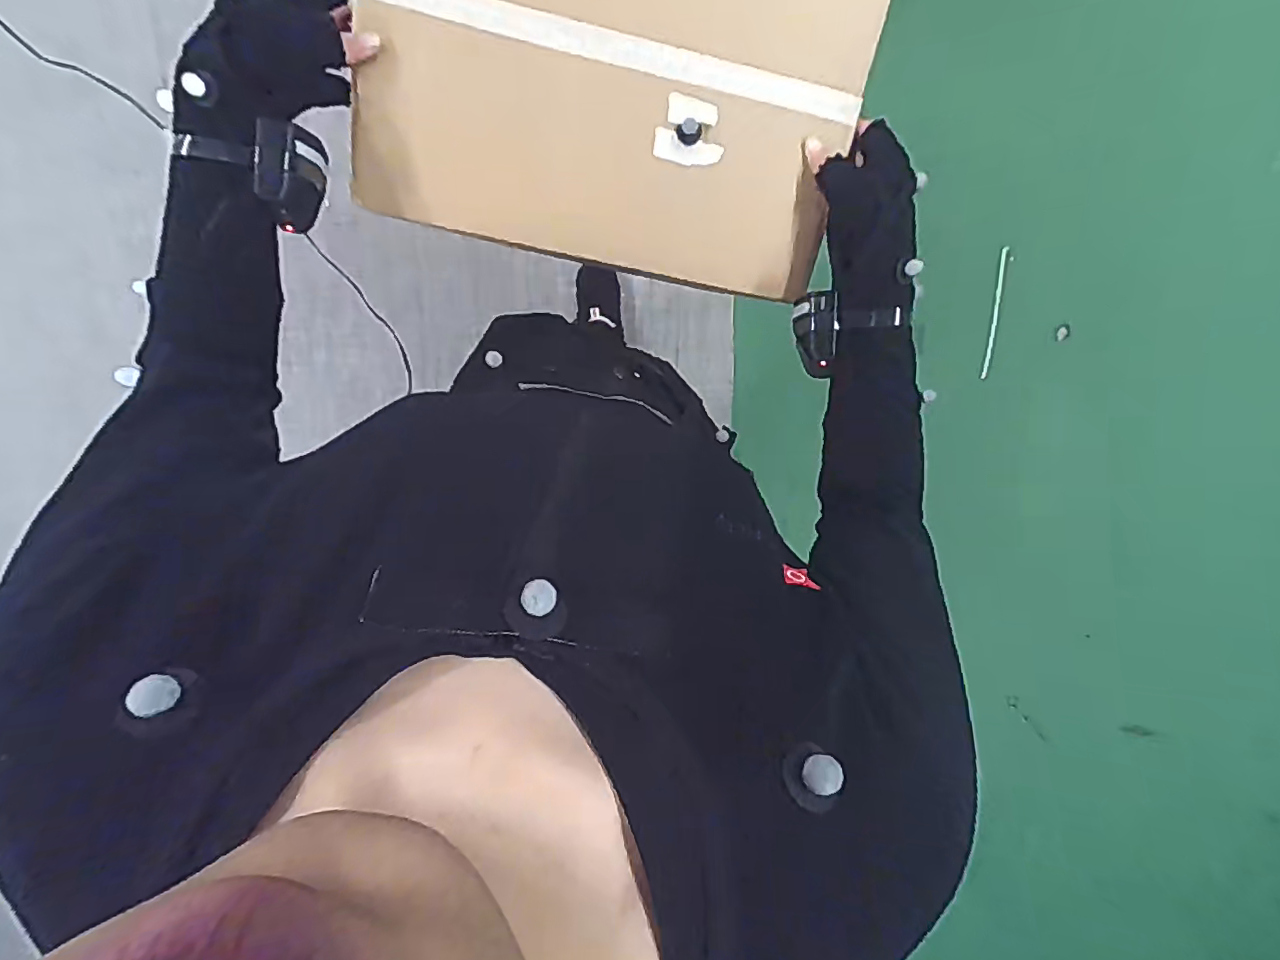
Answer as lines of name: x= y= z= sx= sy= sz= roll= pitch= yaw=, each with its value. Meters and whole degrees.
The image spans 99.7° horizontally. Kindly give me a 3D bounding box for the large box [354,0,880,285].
large box: x=-0.028 y=-0.401 z=0.565 sx=0.408 sy=0.320 sz=0.320 roll=10 pitch=110 yaw=-8
